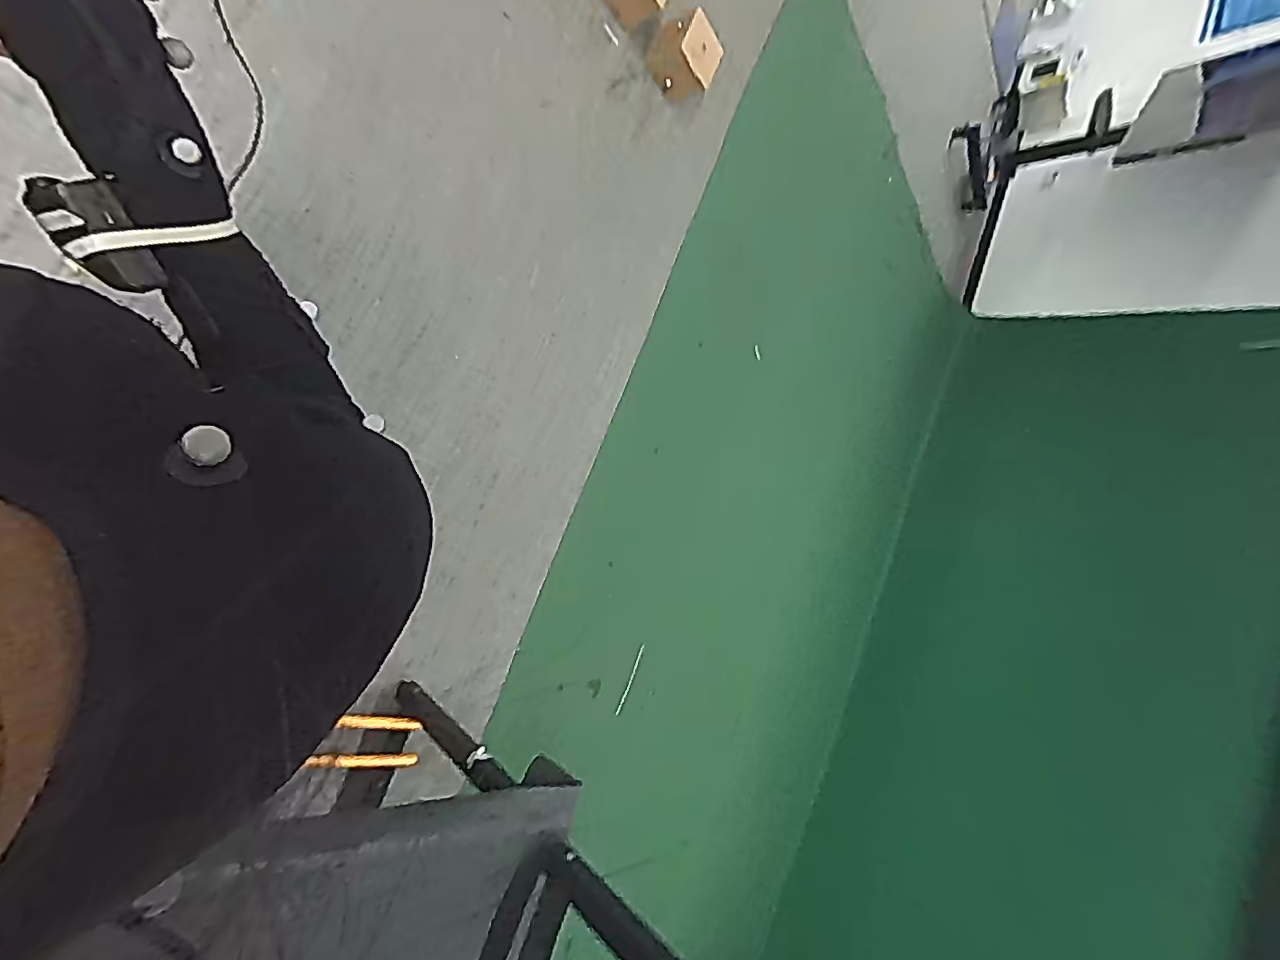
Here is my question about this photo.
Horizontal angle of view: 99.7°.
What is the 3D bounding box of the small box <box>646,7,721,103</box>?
[{"bbox_3d":[0.147,-1.459,1.868,0.168,0.176,0.179,32,78,-44],"label":"small box"}]
